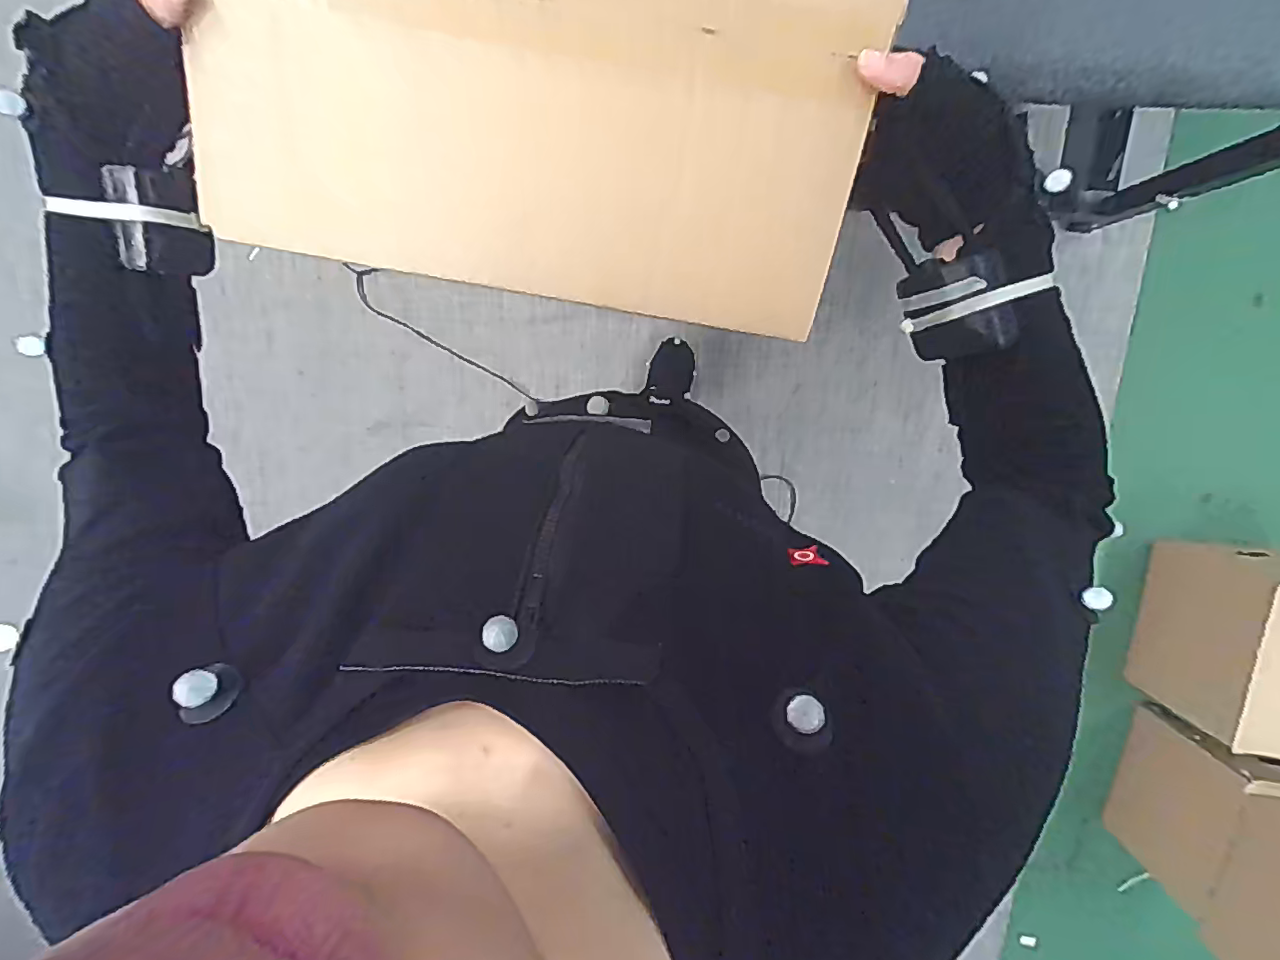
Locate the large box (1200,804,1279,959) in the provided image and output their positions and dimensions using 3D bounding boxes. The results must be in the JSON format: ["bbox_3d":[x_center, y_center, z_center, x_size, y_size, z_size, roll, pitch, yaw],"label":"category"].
[{"bbox_3d":[1.497,0.958,1.110,0.320,0.320,0.408,5,102,3],"label":"large box"}]
